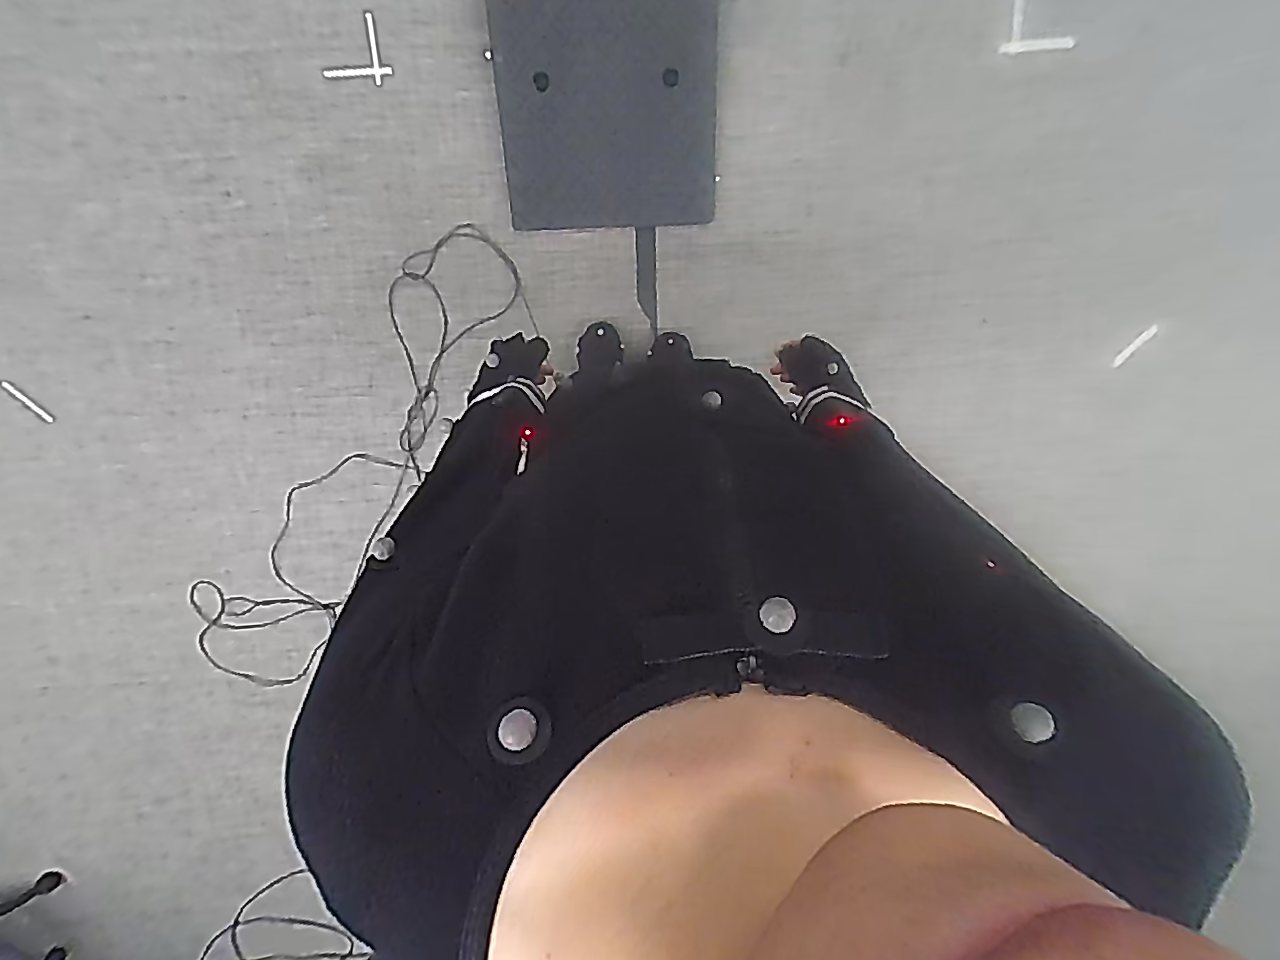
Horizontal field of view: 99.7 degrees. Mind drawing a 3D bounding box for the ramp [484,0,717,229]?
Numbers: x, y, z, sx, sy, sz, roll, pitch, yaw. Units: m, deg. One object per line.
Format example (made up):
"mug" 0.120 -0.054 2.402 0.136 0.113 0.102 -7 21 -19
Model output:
"ramp" -0.083 -1.073 1.103 0.509 0.206 0.991 -5 106 -2
